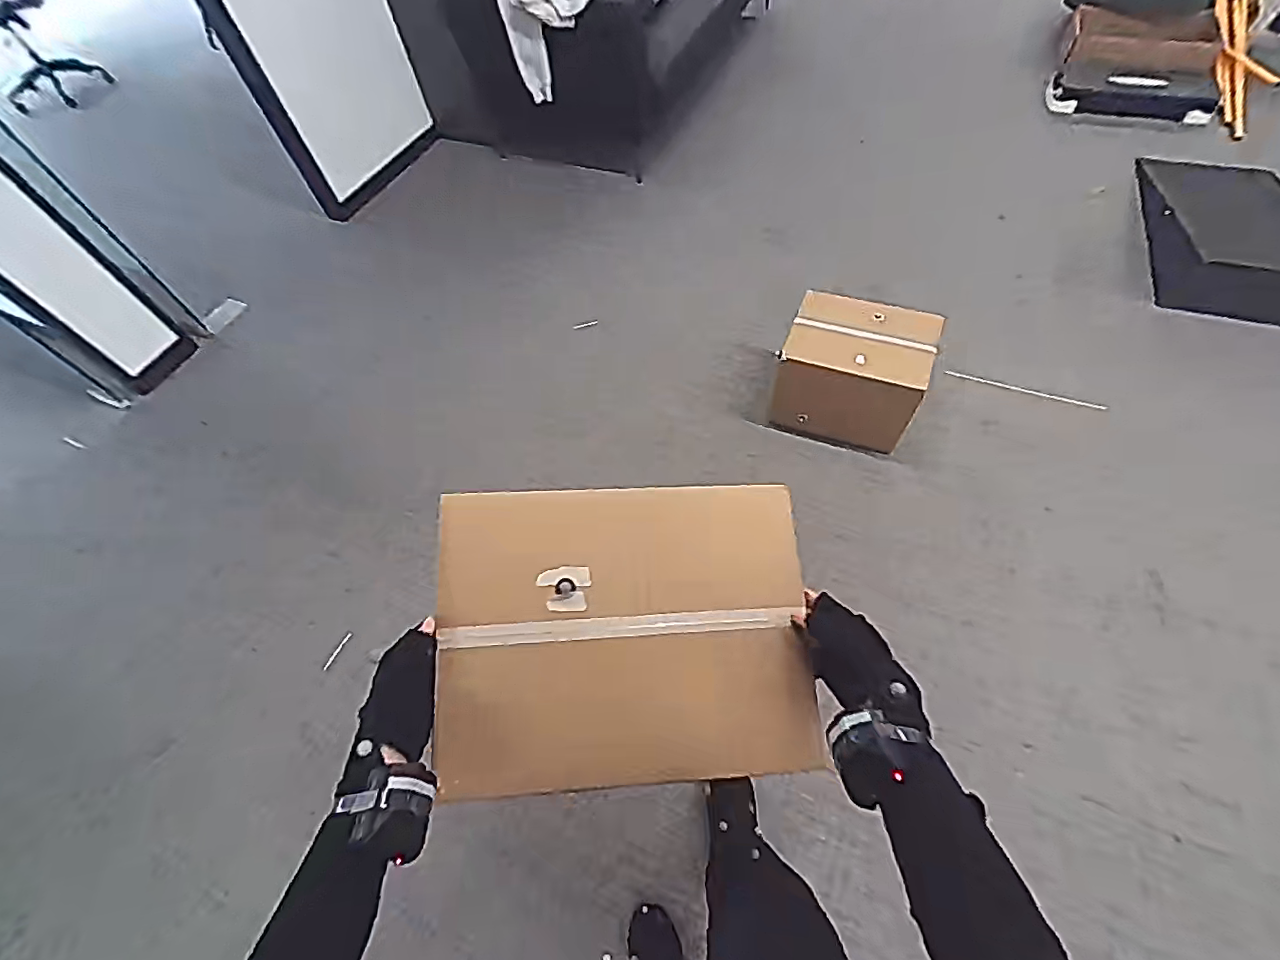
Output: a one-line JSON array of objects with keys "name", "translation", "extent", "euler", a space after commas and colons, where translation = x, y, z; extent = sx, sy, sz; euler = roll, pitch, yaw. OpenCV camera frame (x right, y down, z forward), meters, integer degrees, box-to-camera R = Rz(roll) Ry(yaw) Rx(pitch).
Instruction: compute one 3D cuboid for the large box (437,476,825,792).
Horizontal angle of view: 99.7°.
[{"name": "large box", "translation": [-0.020, 0.189, 0.728], "extent": [0.408, 0.320, 0.320], "euler": [-2, 74, -5]}]
